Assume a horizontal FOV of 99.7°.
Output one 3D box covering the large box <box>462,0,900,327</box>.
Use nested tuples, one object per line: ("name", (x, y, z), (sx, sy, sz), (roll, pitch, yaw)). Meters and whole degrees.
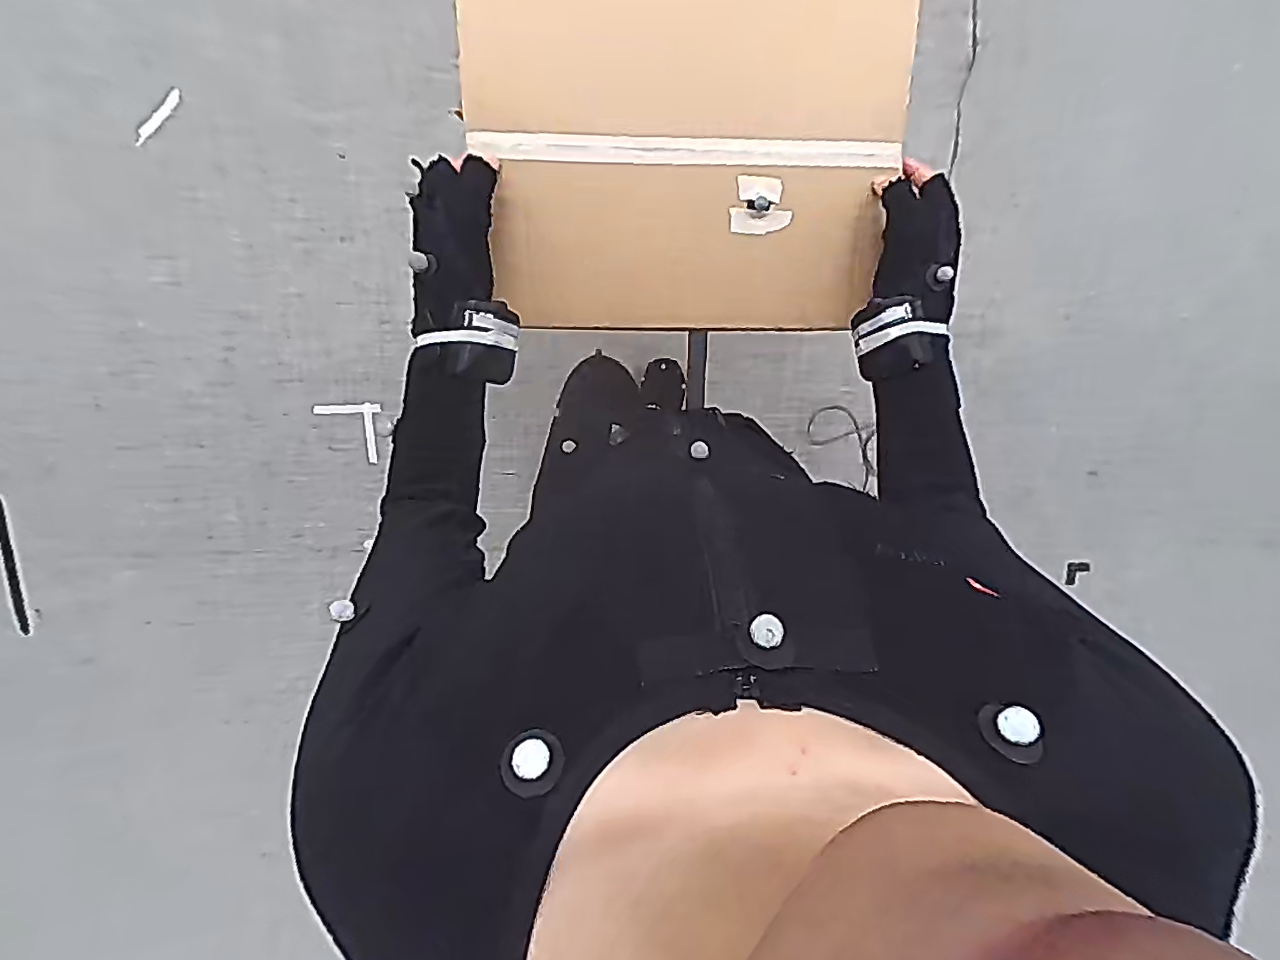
("large box", (0.031, -0.354, 0.657), (0.408, 0.320, 0.320), (-2, 106, -5))
